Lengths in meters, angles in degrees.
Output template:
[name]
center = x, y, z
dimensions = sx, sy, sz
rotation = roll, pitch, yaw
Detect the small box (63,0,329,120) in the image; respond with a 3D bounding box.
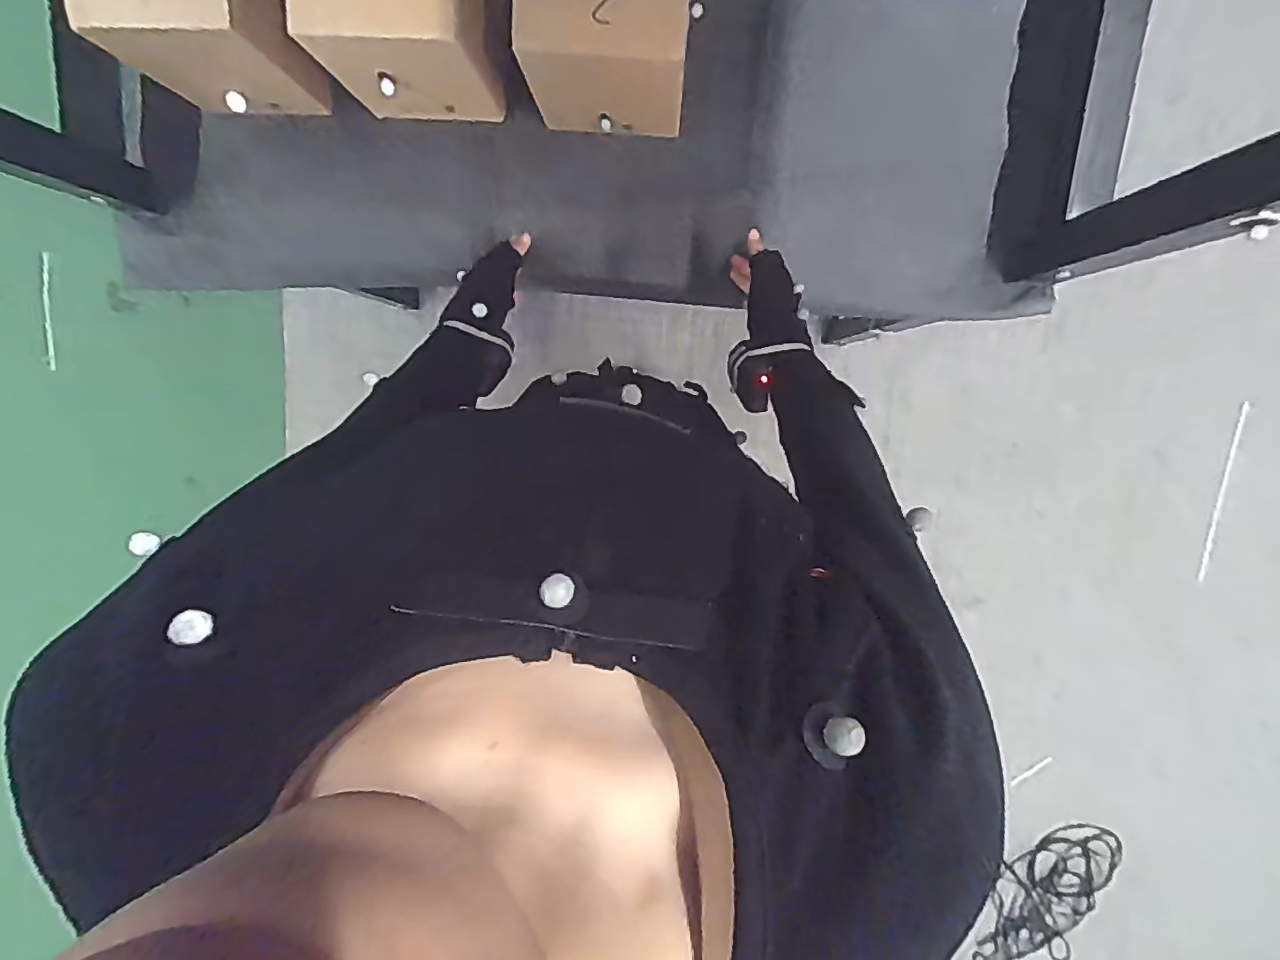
[small box]
center = -0.469, -0.532, 0.590
dimensions = 0.168, 0.176, 0.179
rotation = 3, 99, 2
